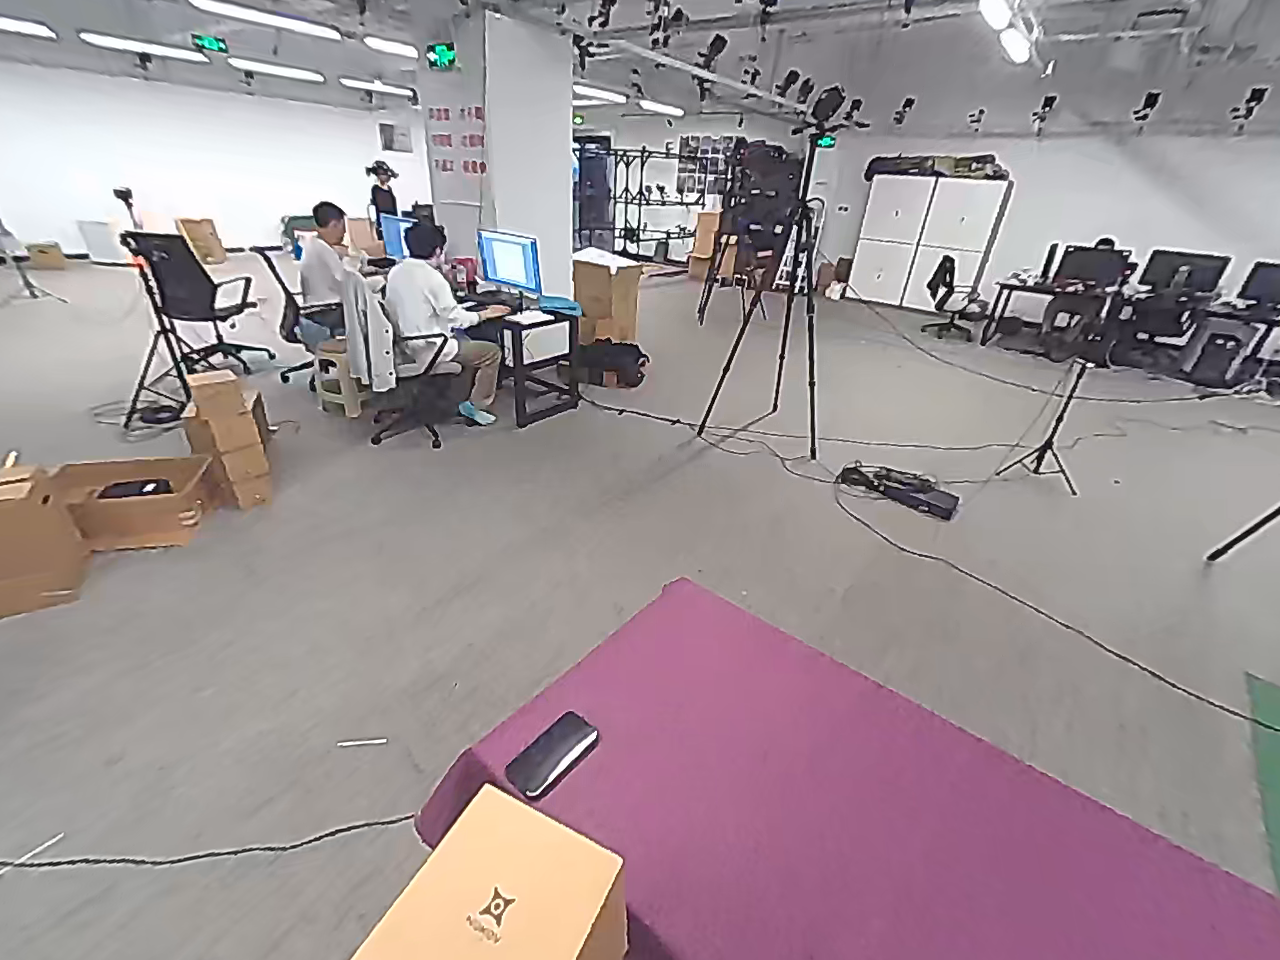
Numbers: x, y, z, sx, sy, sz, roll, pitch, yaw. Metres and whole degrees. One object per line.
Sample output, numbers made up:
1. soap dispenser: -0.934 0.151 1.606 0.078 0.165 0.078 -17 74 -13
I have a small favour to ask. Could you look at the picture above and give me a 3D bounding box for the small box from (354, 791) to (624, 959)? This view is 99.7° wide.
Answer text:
1. small box: -0.127 0.449 0.506 0.168 0.176 0.179 13 32 24
